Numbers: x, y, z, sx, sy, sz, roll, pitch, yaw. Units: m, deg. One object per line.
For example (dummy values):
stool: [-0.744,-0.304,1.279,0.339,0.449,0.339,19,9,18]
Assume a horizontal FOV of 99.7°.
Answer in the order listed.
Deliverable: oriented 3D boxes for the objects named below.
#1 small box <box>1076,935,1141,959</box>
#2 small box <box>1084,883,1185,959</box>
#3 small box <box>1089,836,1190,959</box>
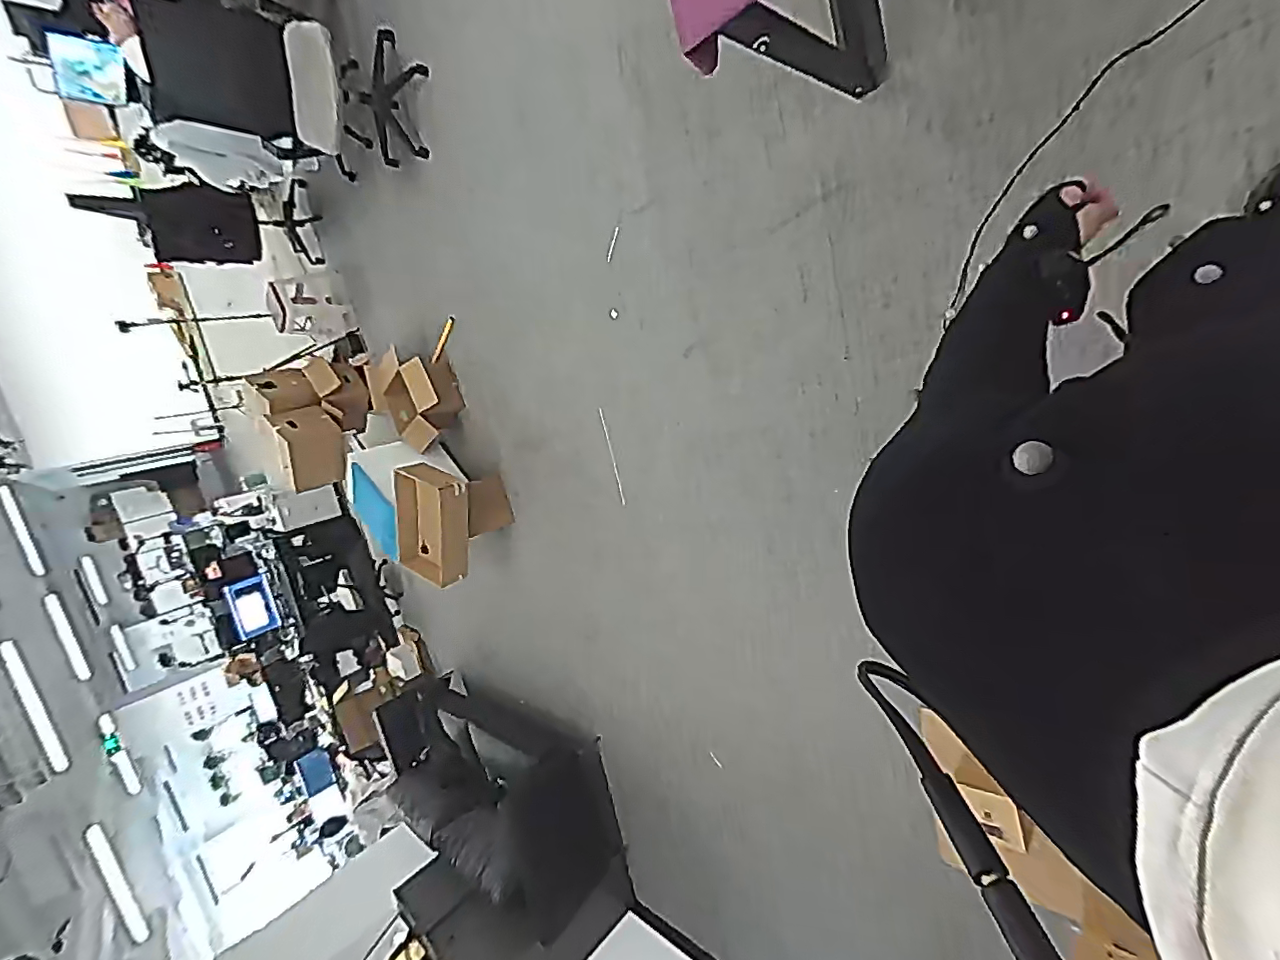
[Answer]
small box: [1.077,1.179,1.196,0.168,0.176,0.179,-7,102,47]
small box: [1.191,1.133,1.301,0.168,0.176,0.179,-7,102,47]
small box: [1.304,1.087,1.410,0.168,0.176,0.179,-12,97,48]
